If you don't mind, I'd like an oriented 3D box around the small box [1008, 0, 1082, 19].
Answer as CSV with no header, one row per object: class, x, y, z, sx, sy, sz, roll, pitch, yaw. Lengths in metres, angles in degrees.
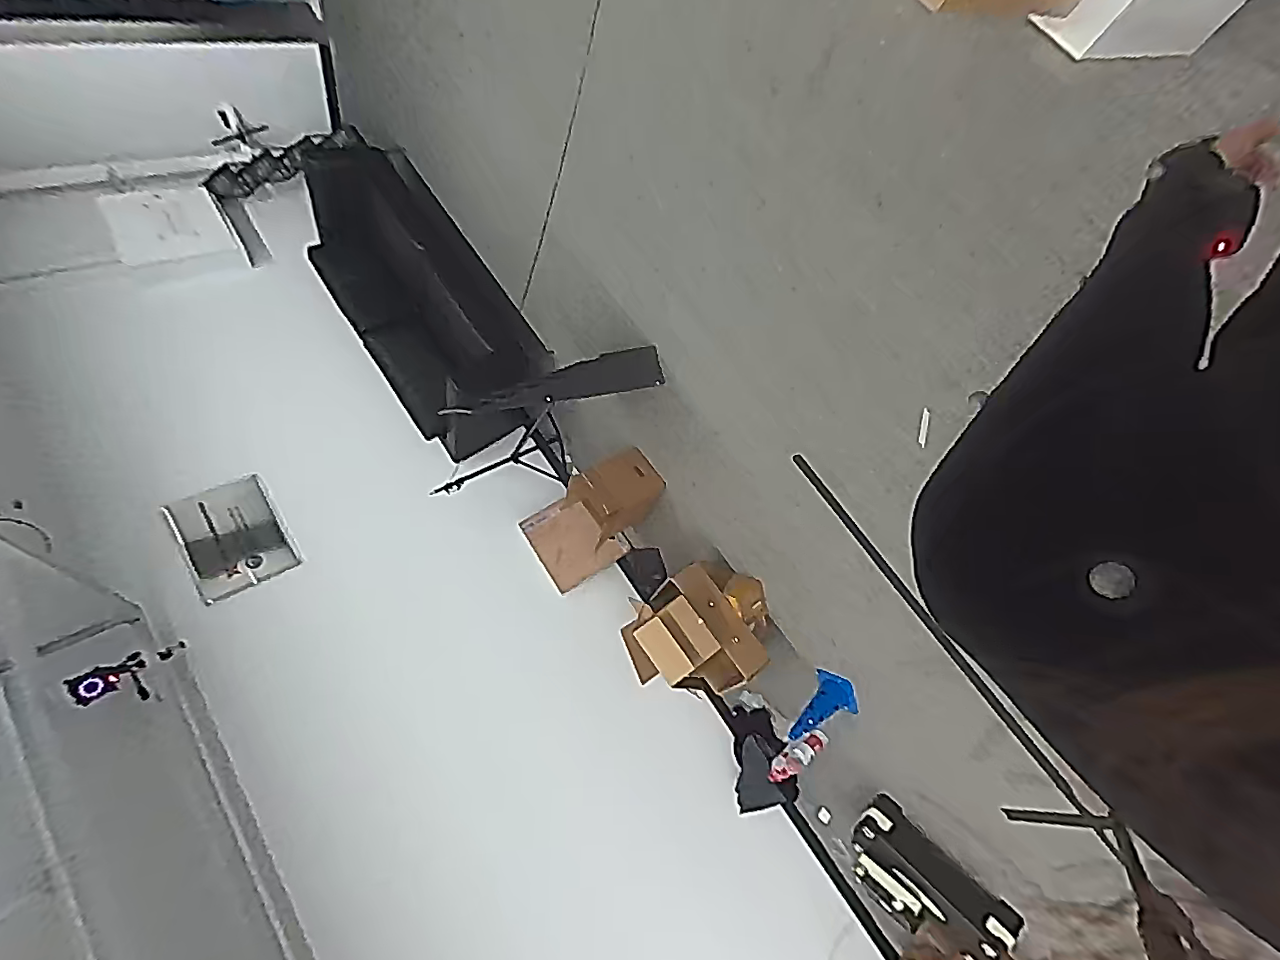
small box,0.479,-0.683,0.639,0.179,0.176,0.168,56,151,14
